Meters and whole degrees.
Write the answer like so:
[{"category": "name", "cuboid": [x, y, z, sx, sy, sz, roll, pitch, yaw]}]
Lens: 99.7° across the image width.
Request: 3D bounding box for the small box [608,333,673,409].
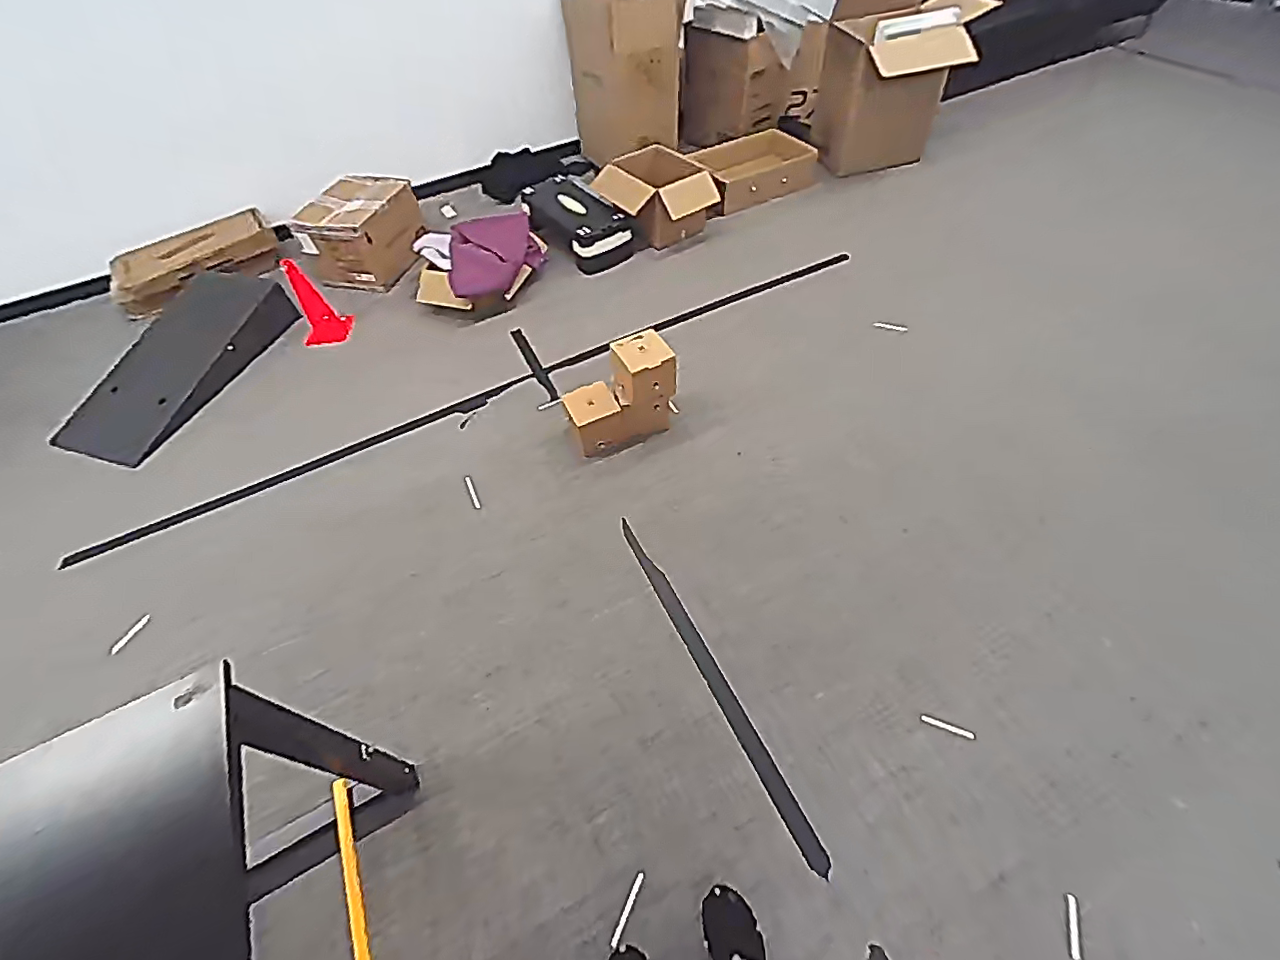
[{"category": "small box", "cuboid": [0.007, -0.364, 1.854, 0.168, 0.176, 0.179, -24, 55, -13]}]
